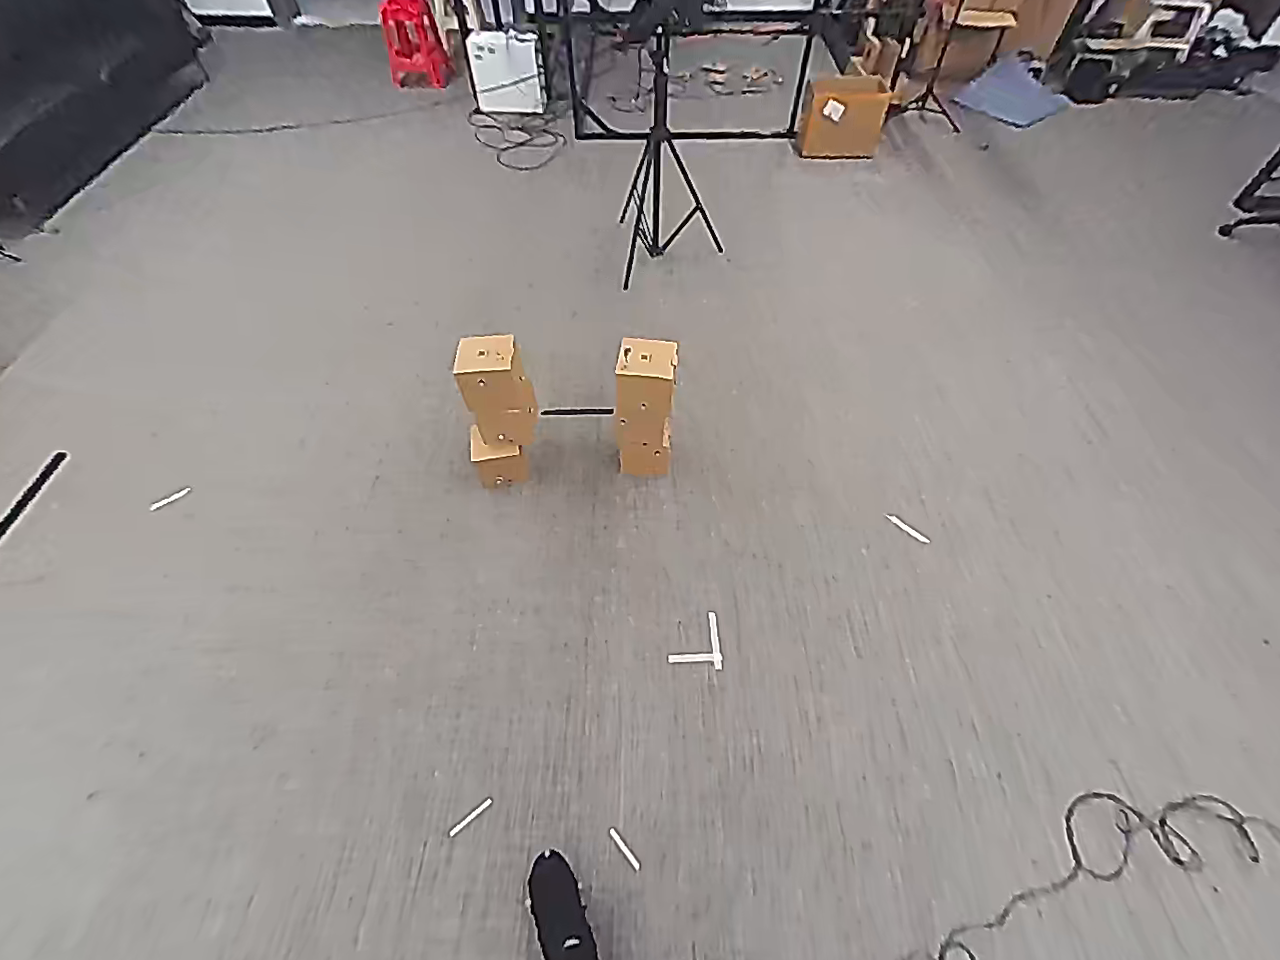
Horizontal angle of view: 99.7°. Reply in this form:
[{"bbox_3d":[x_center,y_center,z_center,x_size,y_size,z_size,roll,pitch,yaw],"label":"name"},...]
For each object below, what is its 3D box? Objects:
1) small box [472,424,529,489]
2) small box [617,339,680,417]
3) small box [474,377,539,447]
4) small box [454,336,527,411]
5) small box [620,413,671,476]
[{"bbox_3d":[-0.499,-0.091,1.942,0.168,0.176,0.179,-10,55,-5],"label":"small box"},{"bbox_3d":[0.026,-0.316,1.693,0.179,0.176,0.168,7,54,4],"label":"small box"},{"bbox_3d":[-0.448,-0.235,1.844,0.168,0.176,0.179,2,54,4],"label":"small box"},{"bbox_3d":[-0.467,-0.332,1.712,0.179,0.176,0.168,-4,53,-1],"label":"small box"},{"bbox_3d":[0.021,-0.128,1.962,0.179,0.176,0.168,1,54,0],"label":"small box"}]
